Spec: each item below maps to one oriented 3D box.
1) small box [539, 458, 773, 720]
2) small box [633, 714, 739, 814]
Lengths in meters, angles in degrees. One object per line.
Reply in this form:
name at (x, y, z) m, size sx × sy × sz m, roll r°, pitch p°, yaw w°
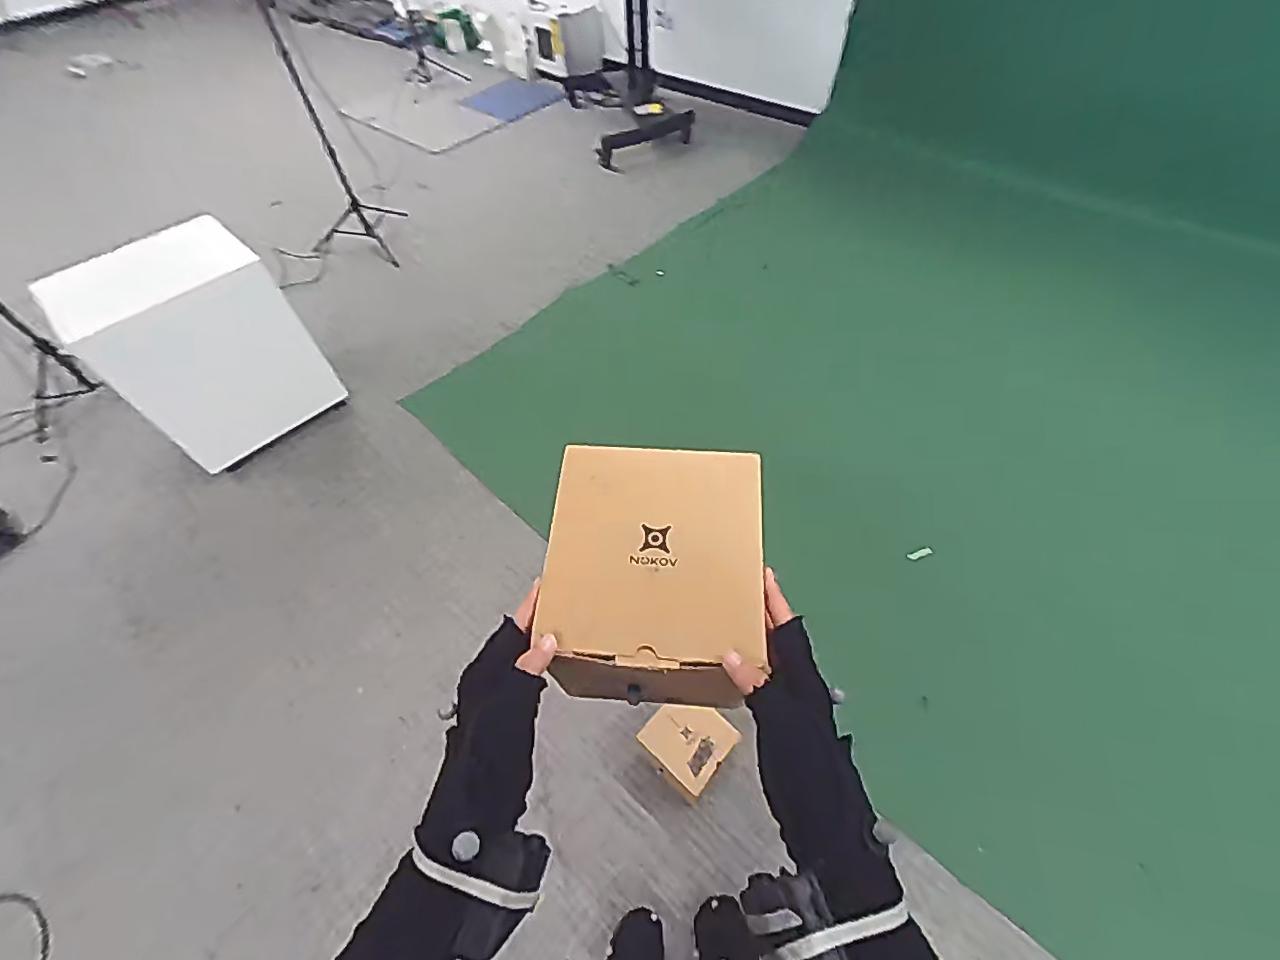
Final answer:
small box at (0.019, 0.101, 0.481) m, size 0.168 × 0.176 × 0.179 m, roll 3°, pitch 58°, yaw 5°
small box at (0.105, 0.637, 1.246) m, size 0.179 × 0.176 × 0.168 m, roll 35°, pitch 61°, yaw 26°
